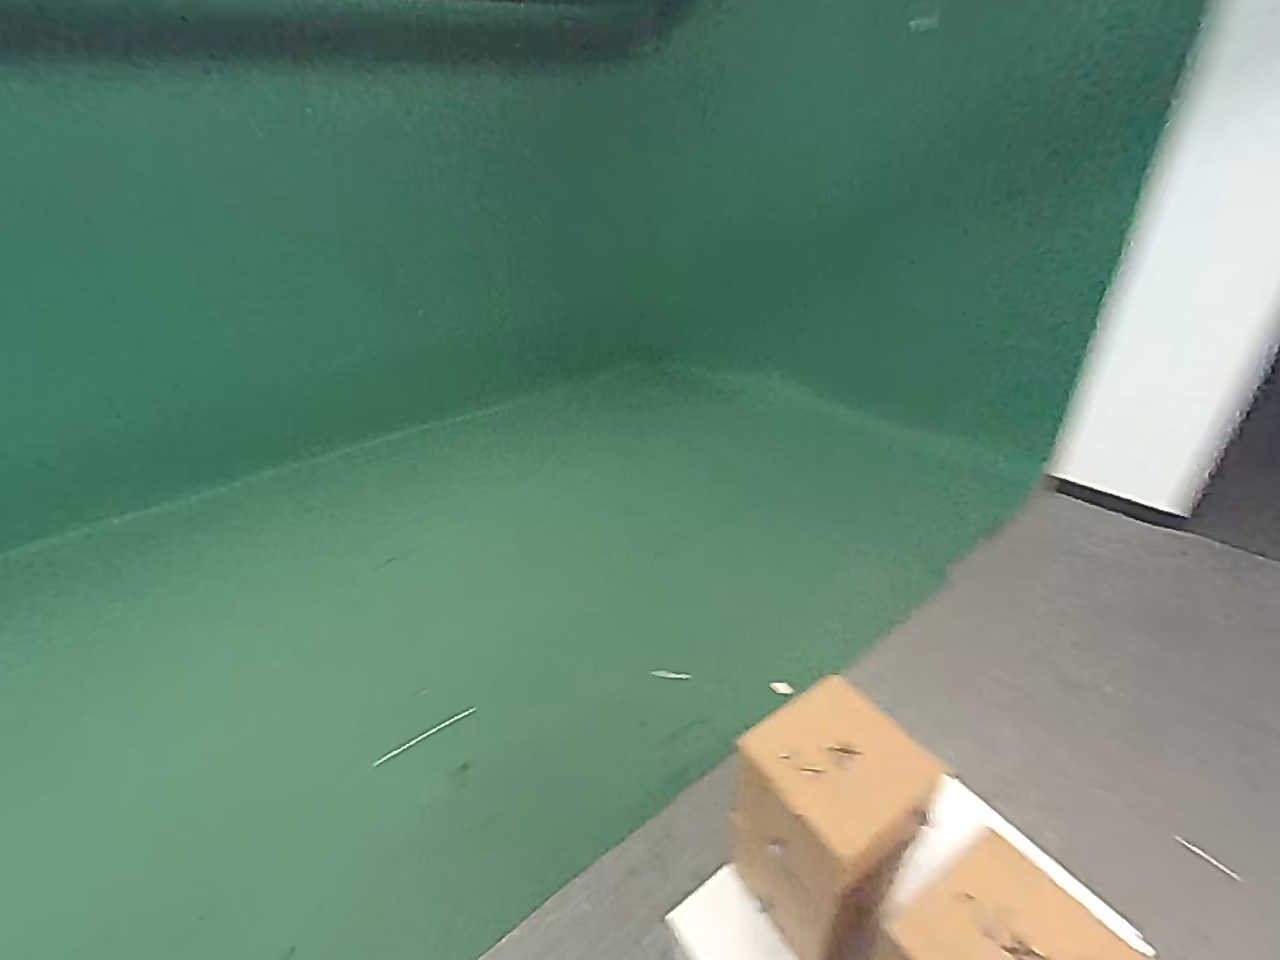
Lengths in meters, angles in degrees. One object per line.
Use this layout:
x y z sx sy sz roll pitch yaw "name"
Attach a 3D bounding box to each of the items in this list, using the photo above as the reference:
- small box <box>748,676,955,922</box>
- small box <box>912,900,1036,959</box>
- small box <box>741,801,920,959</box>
0.251 0.395 0.682 0.179 0.176 0.168 -21 35 -24 "small box"
0.375 0.629 0.594 0.179 0.176 0.168 -21 33 -23 "small box"
0.258 0.533 0.770 0.179 0.176 0.168 -22 36 -24 "small box"
